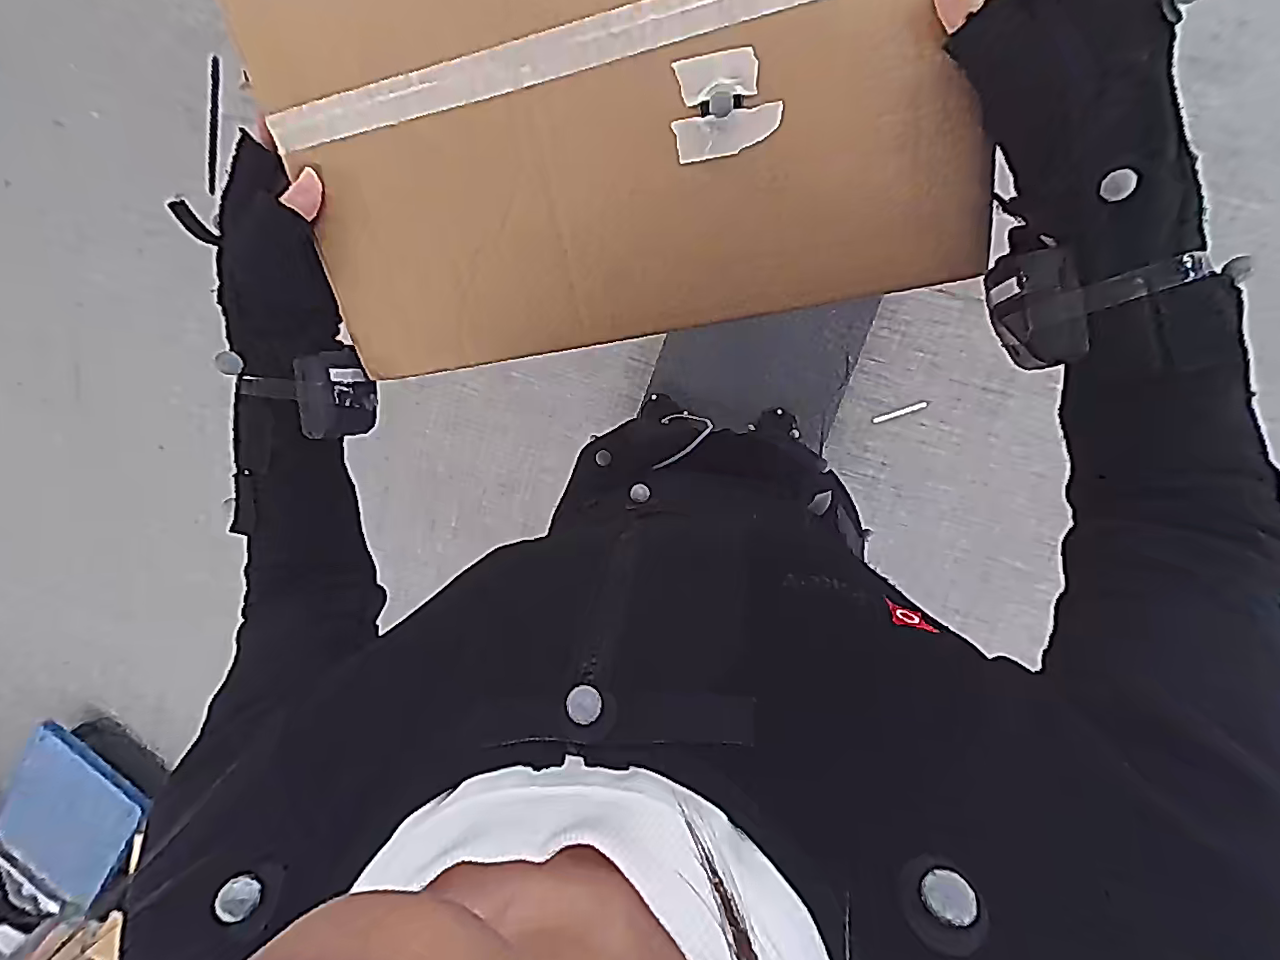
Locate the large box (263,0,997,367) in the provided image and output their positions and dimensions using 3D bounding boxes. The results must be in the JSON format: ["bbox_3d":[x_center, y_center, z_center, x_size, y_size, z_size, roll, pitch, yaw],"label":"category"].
[{"bbox_3d":[0.002,-0.304,0.438,0.408,0.320,0.320,-7,113,11],"label":"large box"}]
